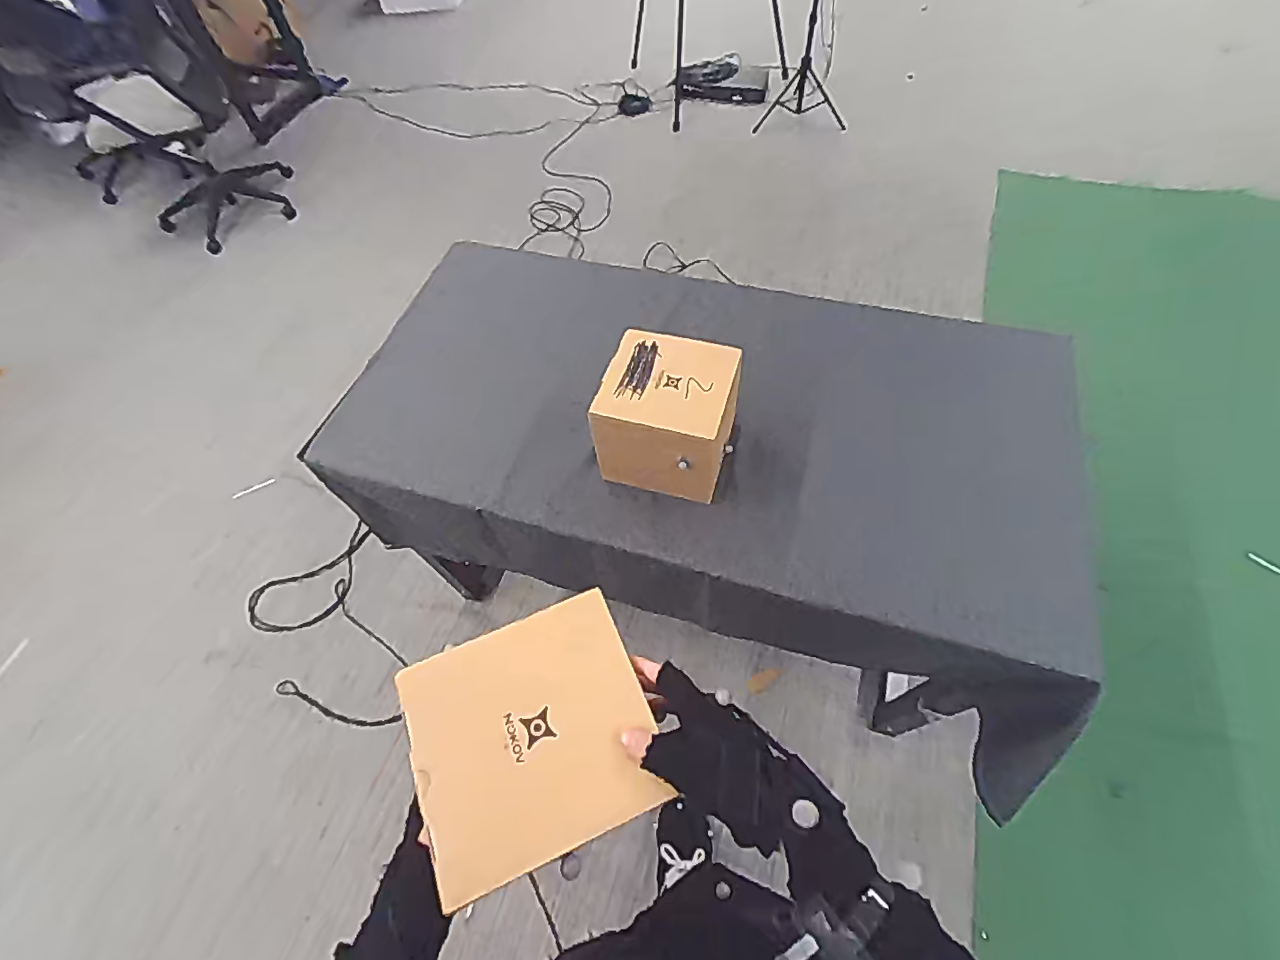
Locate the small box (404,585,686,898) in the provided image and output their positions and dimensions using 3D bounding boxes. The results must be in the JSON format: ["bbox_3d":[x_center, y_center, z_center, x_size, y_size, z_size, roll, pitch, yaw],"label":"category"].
[{"bbox_3d":[-0.077,0.220,0.478,0.179,0.176,0.168,-22,63,-11],"label":"small box"}]
